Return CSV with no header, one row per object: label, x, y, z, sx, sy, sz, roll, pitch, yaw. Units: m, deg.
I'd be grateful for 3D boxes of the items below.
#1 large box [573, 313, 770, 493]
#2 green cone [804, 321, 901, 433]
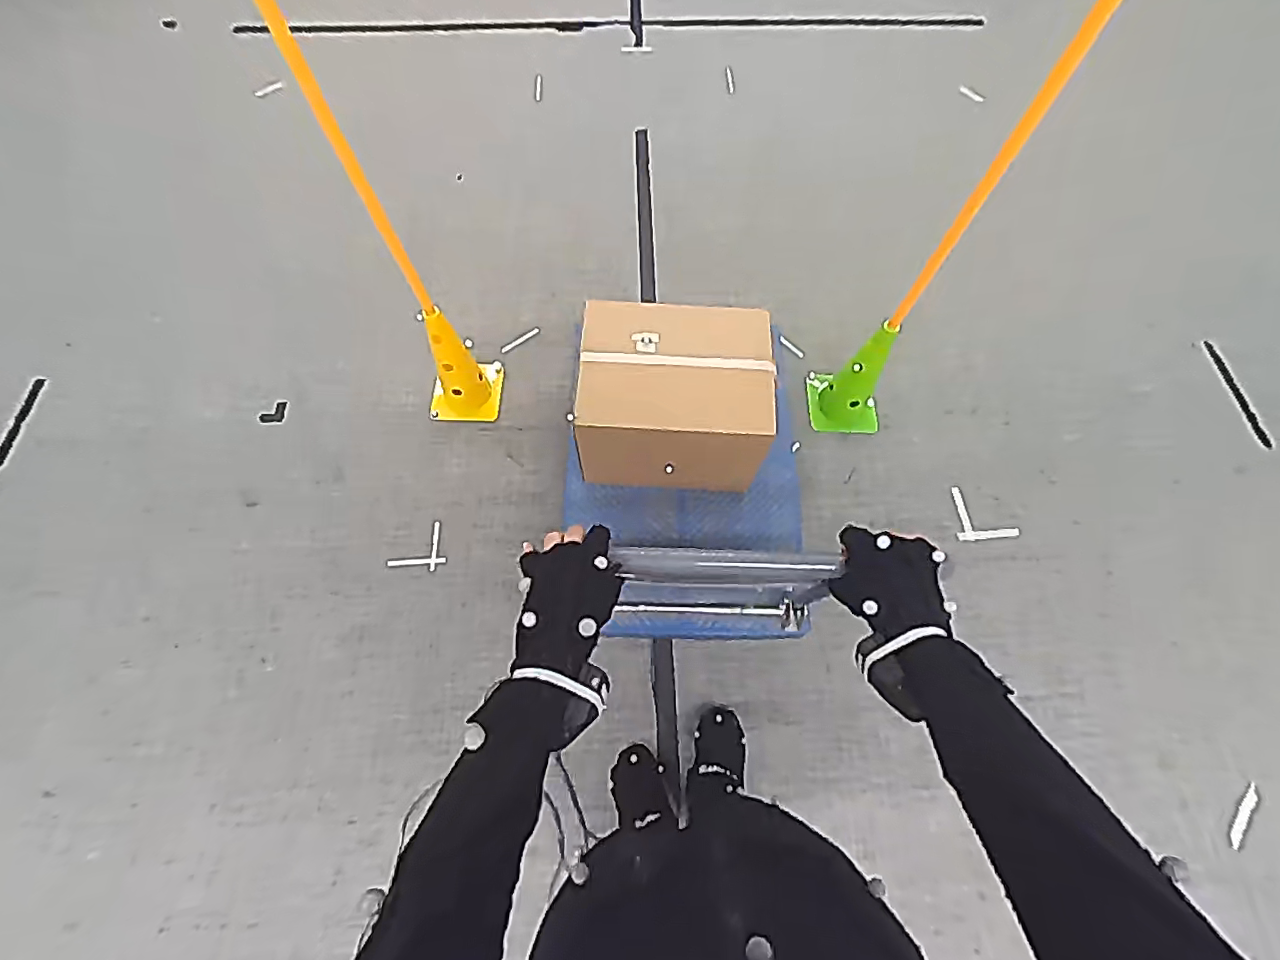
large box,0.069,-0.168,1.277,0.408,0.320,0.320,3,67,1
green cone,0.615,-0.302,1.500,0.202,0.368,0.200,2,66,-1
